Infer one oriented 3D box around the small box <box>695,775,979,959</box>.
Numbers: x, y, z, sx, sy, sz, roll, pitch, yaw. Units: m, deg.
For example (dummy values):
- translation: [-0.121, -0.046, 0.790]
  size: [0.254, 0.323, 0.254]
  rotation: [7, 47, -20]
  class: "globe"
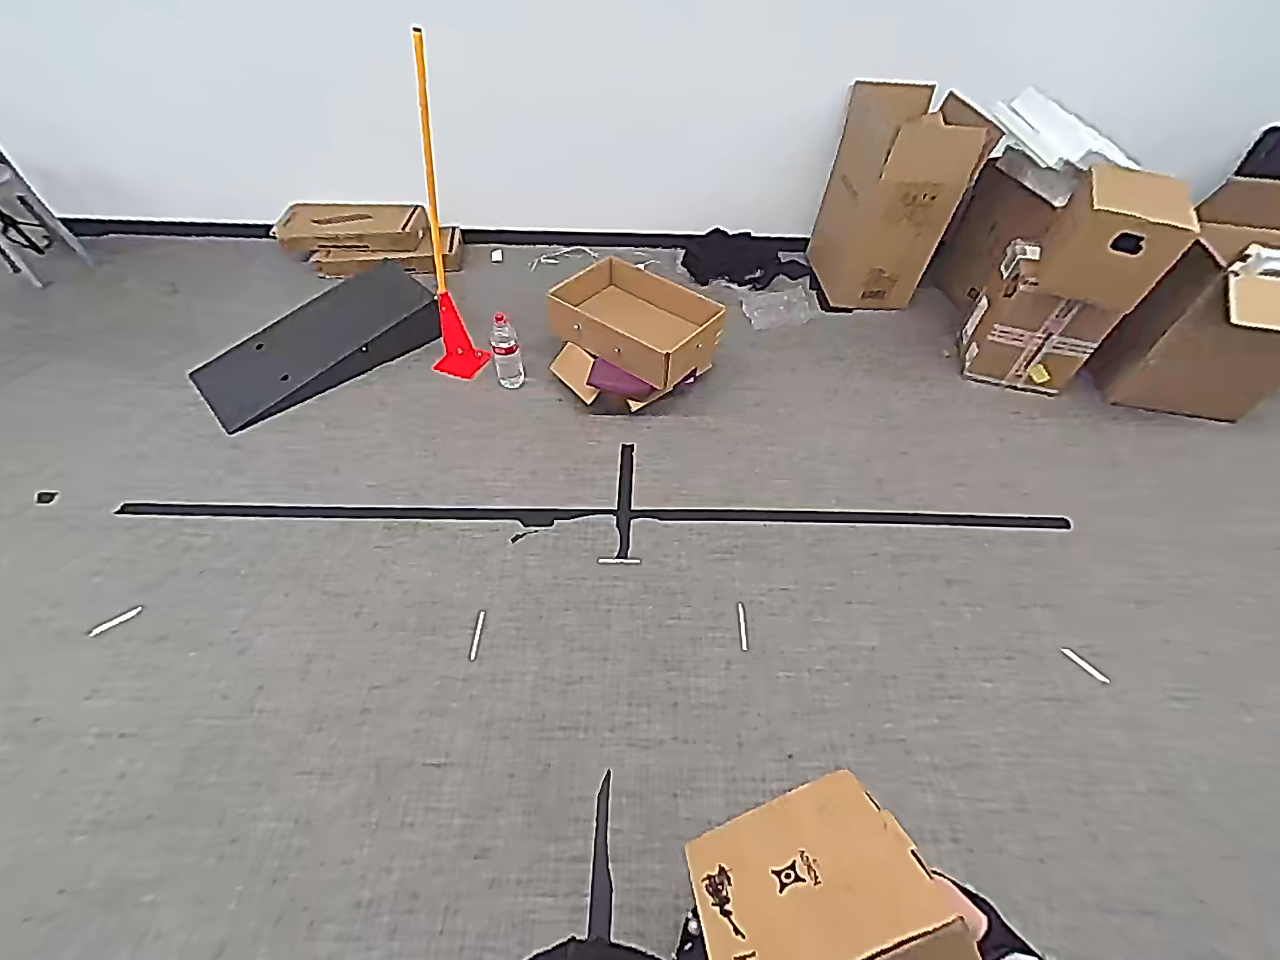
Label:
- translation: [0.167, 0.401, 0.453]
  size: [0.179, 0.168, 0.176]
  rotation: [-22, 94, -3]
  class: "small box"
